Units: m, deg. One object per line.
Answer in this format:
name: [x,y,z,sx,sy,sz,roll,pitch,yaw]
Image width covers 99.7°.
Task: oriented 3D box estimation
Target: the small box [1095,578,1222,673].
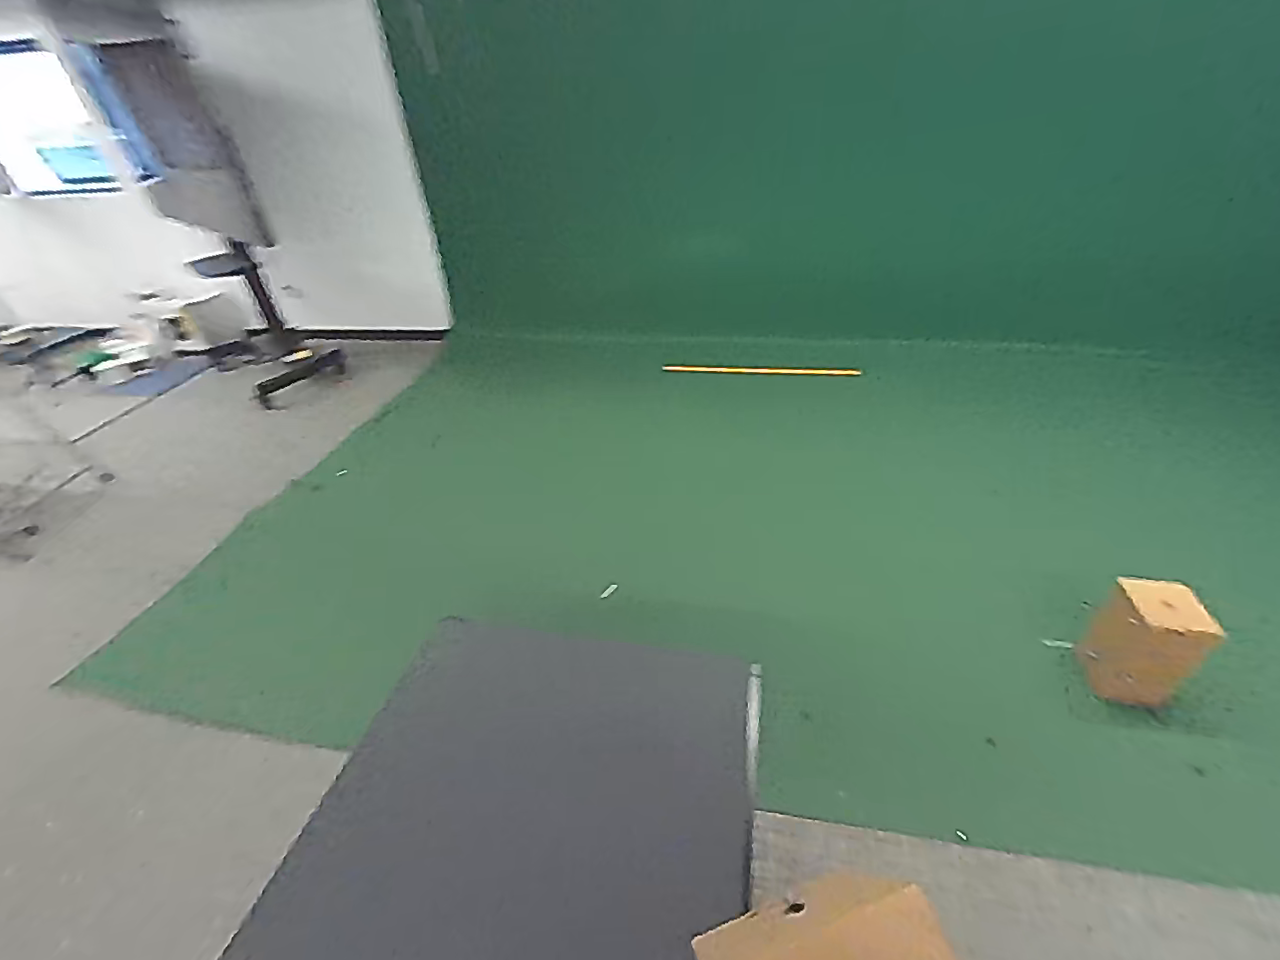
small box: [1.415,0.400,1.493,0.168,0.176,0.179,4,36,11]
